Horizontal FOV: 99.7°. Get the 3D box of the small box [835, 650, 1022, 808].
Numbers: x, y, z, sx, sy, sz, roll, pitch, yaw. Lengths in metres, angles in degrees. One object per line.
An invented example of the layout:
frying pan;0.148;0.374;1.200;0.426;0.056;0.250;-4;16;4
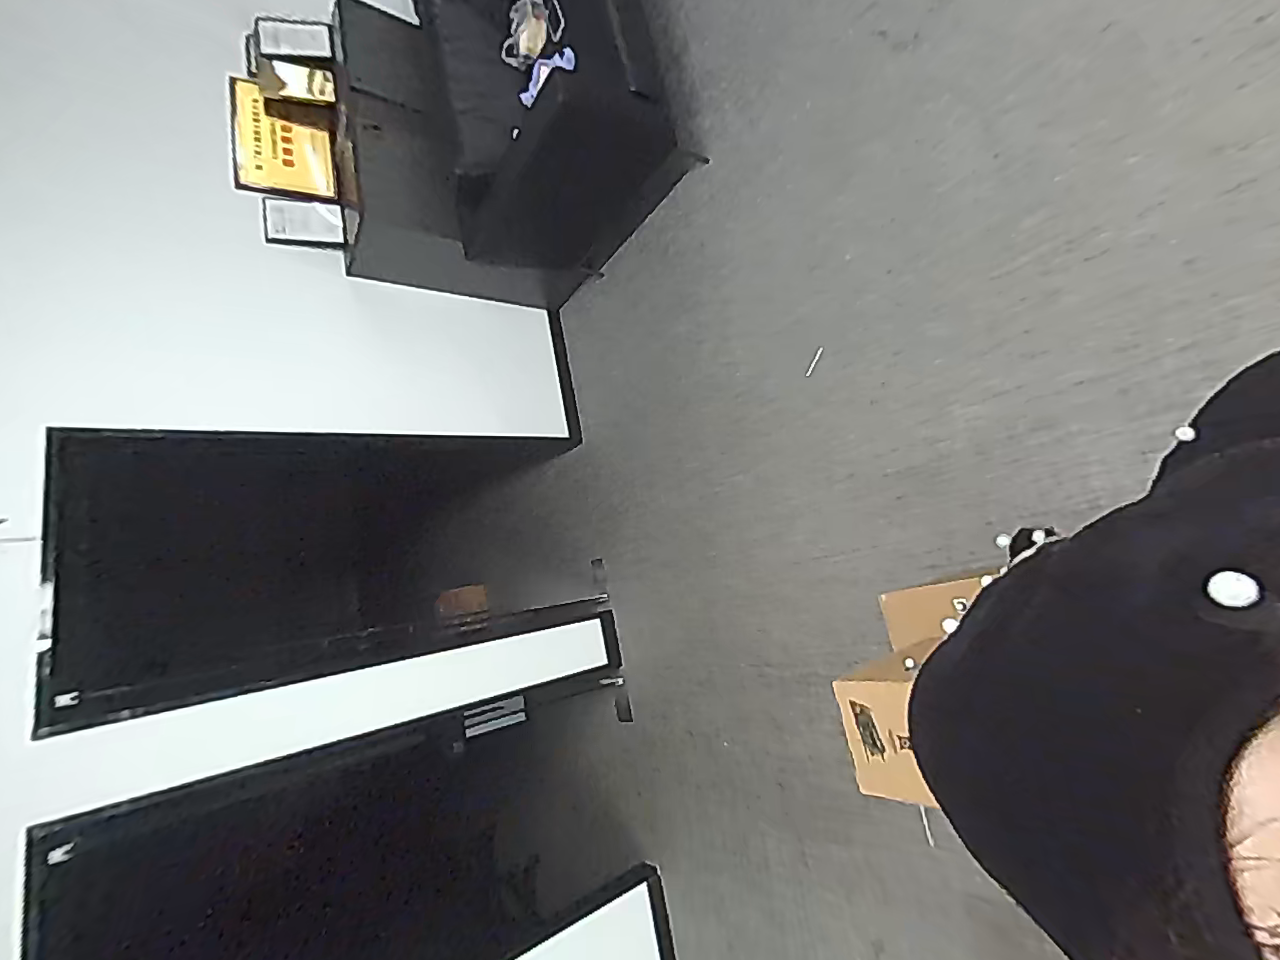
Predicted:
small box;0.434;0.362;0.821;0.179;0.176;0.168;-25;74;49
